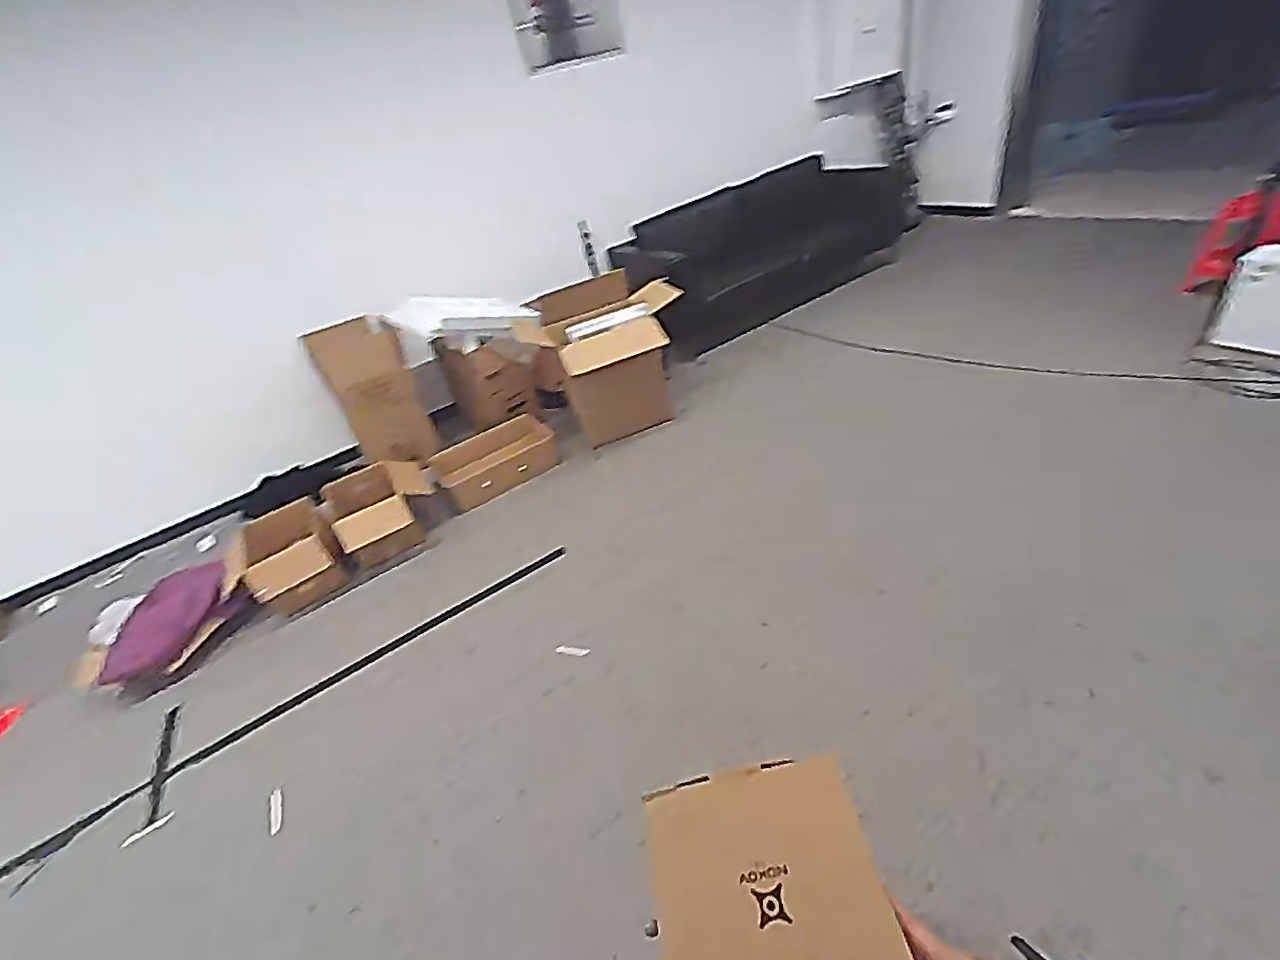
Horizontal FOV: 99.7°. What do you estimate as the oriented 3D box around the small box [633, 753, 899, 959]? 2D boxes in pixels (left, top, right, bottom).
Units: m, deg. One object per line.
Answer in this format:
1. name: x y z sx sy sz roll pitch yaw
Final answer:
1. small box: 0.094 0.358 0.442 0.168 0.176 0.179 -12 43 -1
